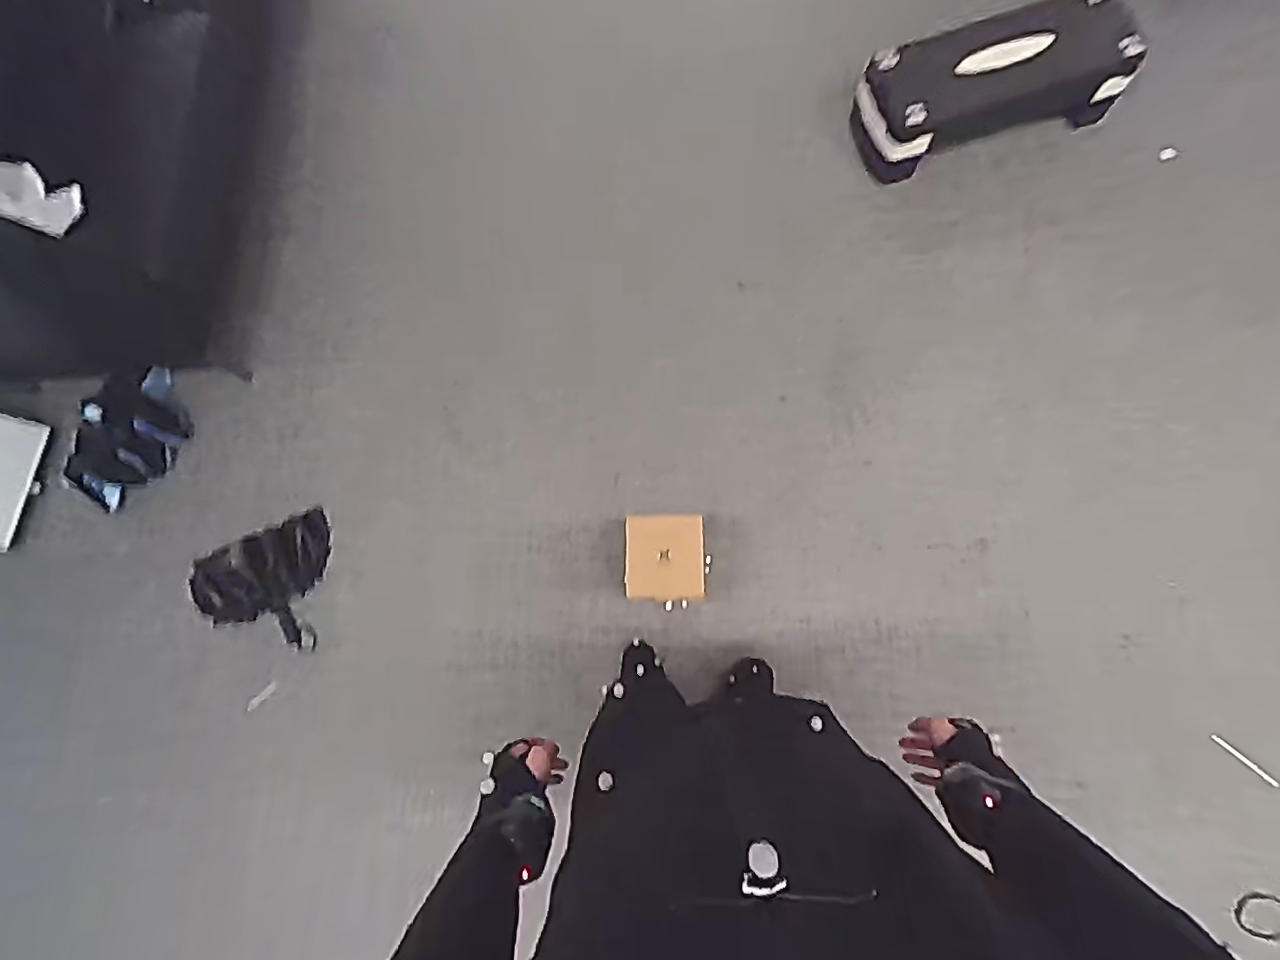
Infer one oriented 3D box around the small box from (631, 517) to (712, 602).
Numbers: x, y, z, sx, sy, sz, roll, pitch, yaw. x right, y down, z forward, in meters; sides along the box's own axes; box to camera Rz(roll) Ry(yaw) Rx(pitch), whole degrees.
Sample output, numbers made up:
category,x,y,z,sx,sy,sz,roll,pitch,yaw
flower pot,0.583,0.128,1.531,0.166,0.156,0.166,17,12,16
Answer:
category,x,y,z,sx,sy,sz,roll,pitch,yaw
small box,0.074,0.183,1.211,0.168,0.176,0.179,-3,75,8
